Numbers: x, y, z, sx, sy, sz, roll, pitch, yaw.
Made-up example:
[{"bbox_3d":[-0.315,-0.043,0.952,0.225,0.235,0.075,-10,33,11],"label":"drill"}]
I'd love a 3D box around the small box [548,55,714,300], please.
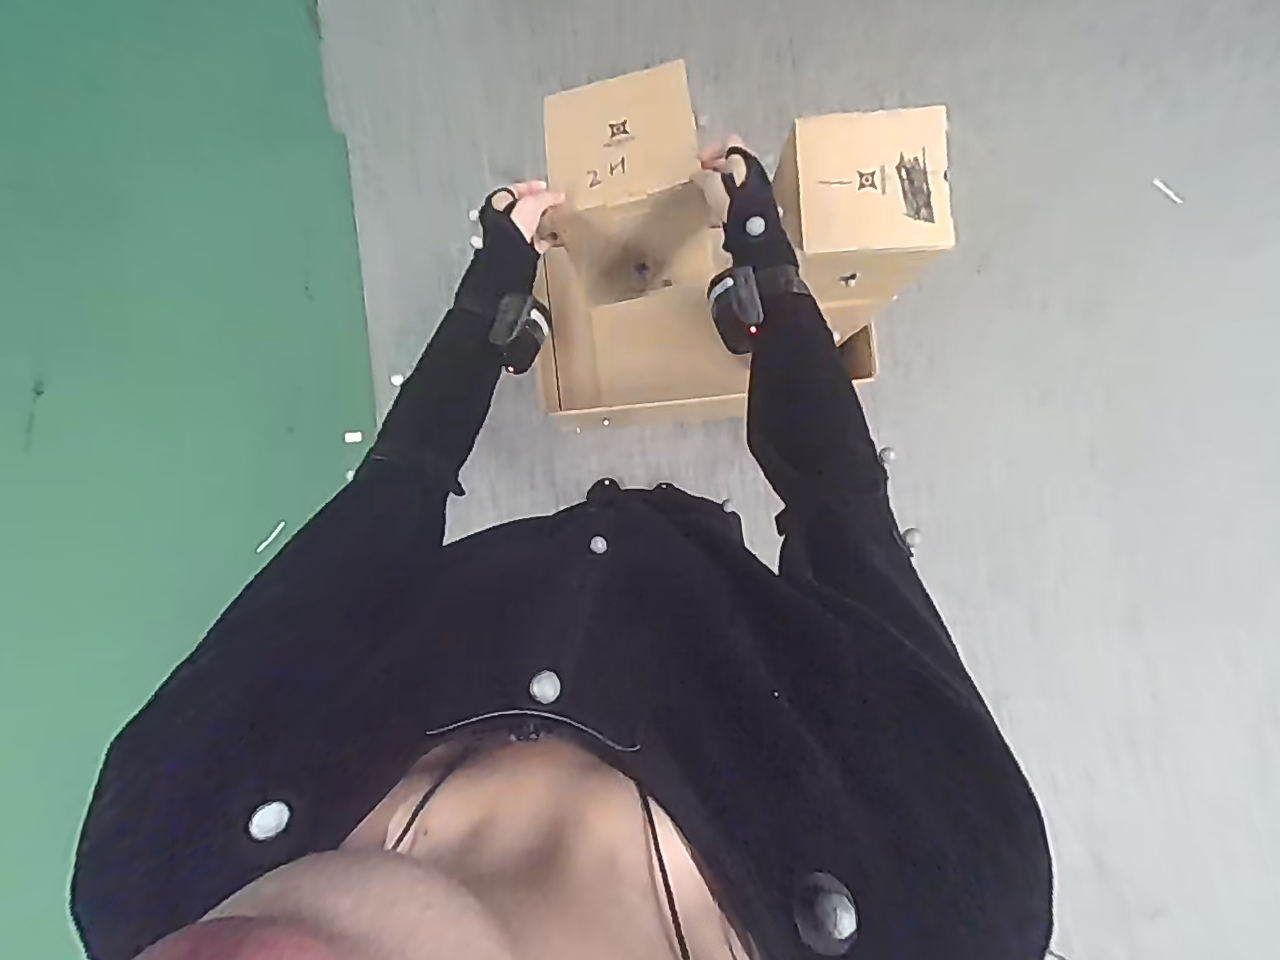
[{"bbox_3d":[-0.005,-0.351,0.654,0.168,0.176,0.179,-8,73,10],"label":"small box"}]

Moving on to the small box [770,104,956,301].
[{"bbox_3d":[0.273,-0.342,0.697,0.179,0.176,0.168,-3,88,3],"label":"small box"}]
